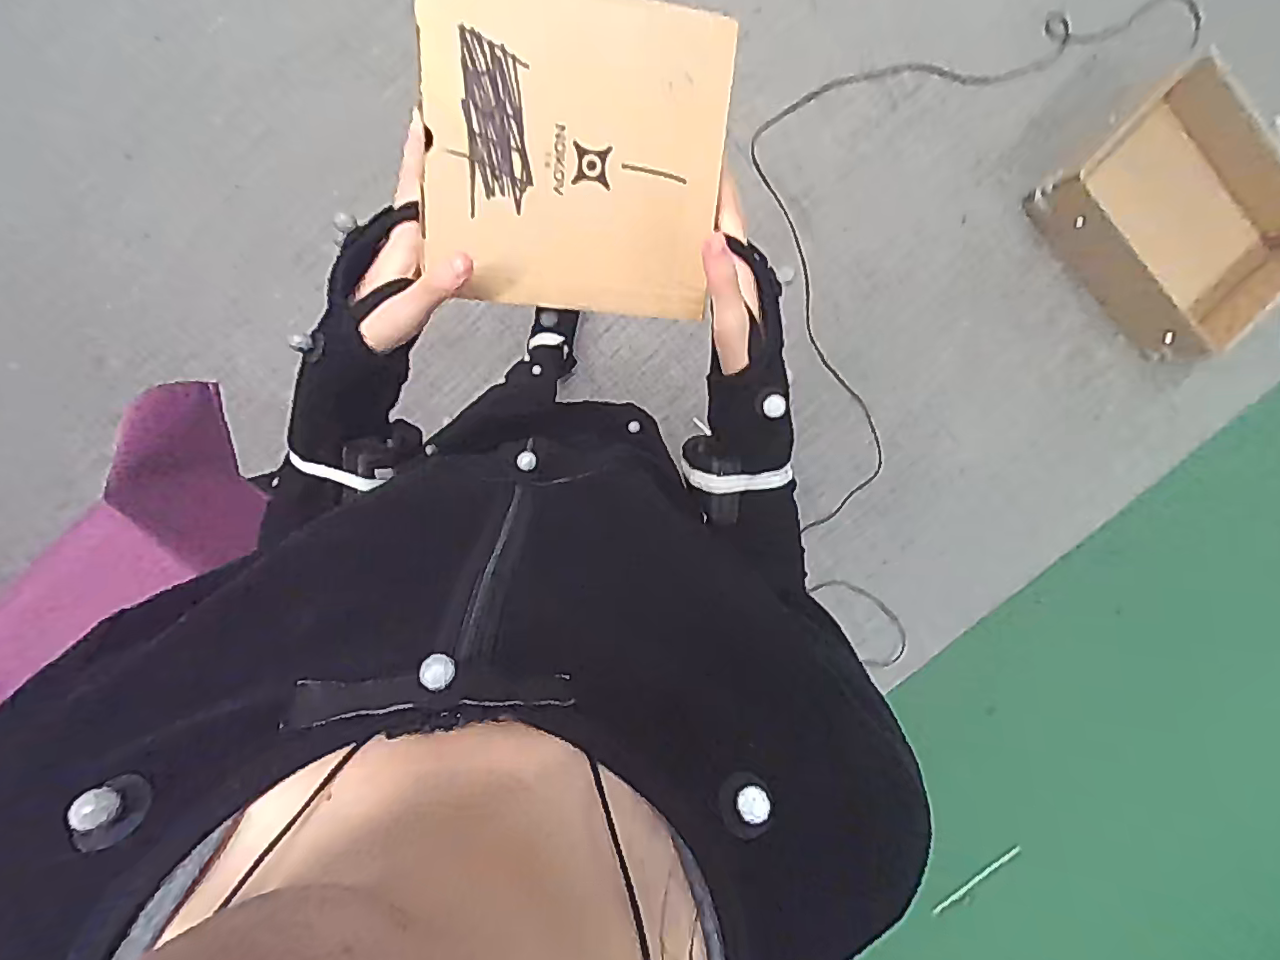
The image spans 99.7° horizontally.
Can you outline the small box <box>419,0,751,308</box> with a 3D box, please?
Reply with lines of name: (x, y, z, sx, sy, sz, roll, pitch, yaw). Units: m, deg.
small box: (-0.047, -0.216, 0.380, 0.179, 0.176, 0.168, 2, 108, -13)
